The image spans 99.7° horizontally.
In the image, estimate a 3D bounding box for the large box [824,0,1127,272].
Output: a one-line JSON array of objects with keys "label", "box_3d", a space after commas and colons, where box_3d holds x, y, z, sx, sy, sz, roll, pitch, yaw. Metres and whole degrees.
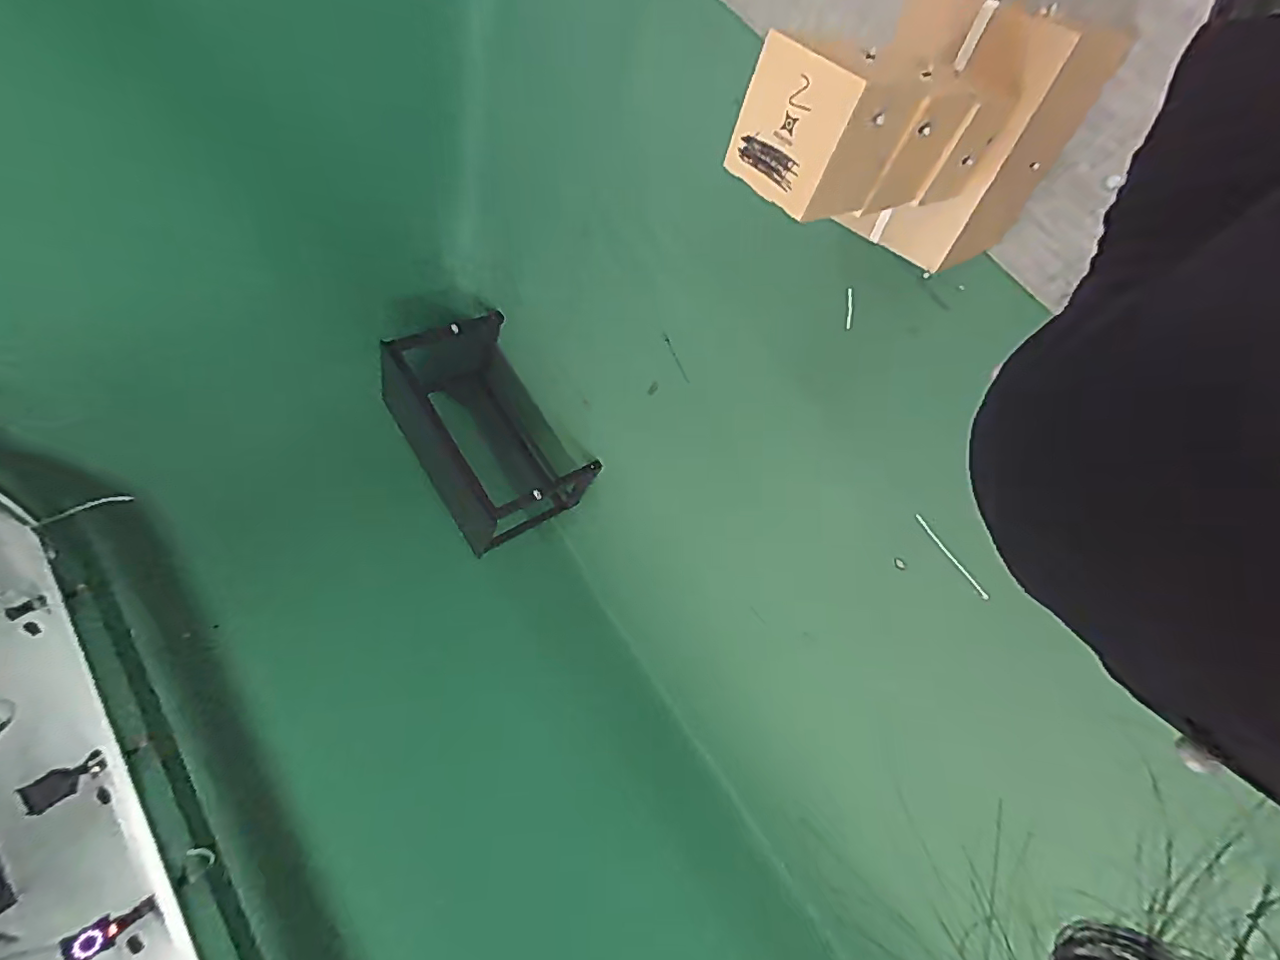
[{"label": "large box", "box_3d": [0.660, -0.717, 1.116, 0.320, 0.320, 0.408, 45, 145, 26]}]

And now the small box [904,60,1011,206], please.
[{"label": "small box", "box_3d": [0.501, -0.616, 0.952, 0.179, 0.176, 0.168, 48, 145, 21]}]

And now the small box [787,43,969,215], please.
[{"label": "small box", "box_3d": [0.378, -0.559, 0.865, 0.168, 0.176, 0.179, 48, 144, 20]}]
